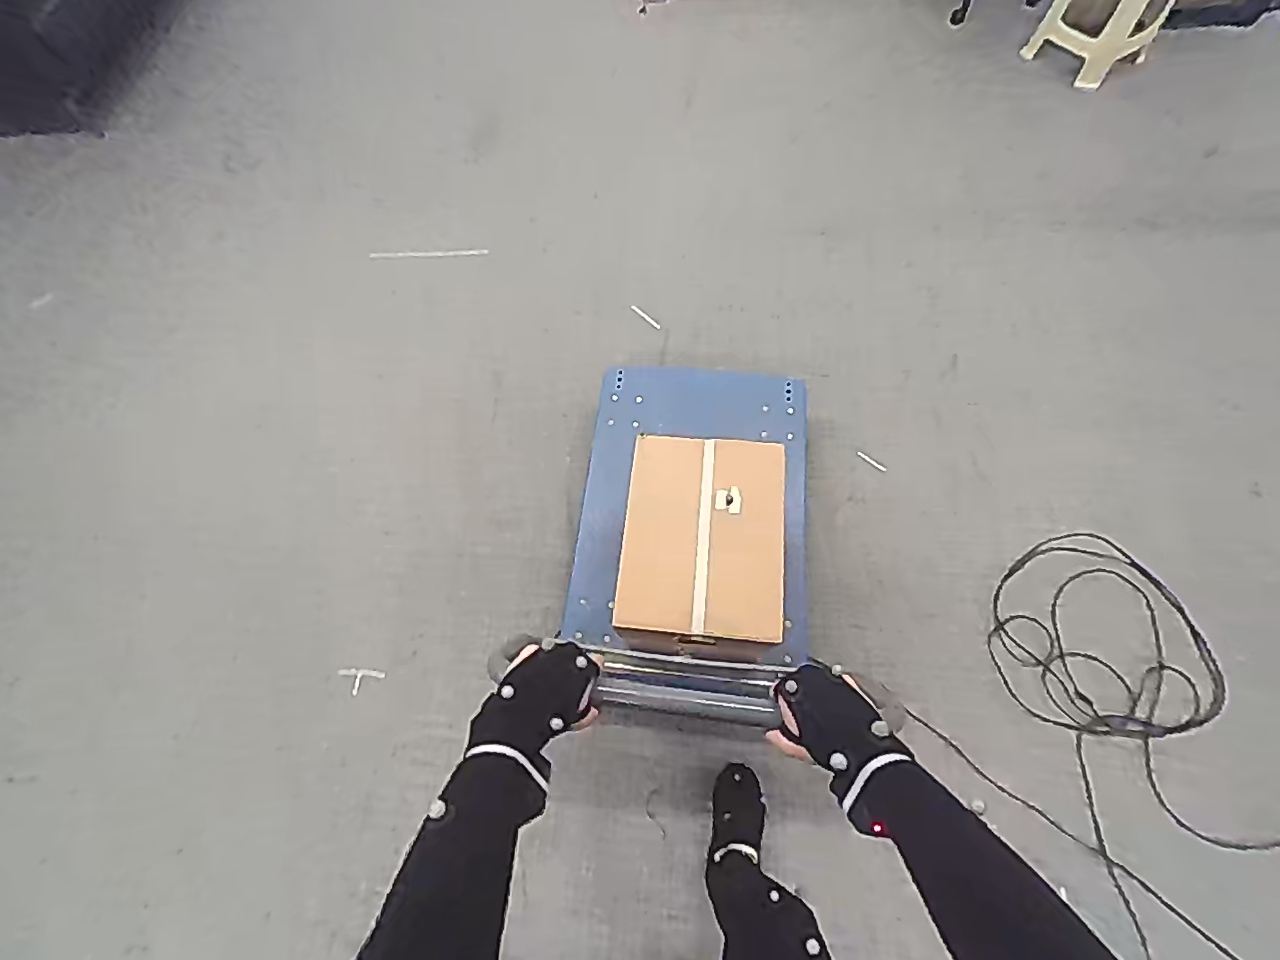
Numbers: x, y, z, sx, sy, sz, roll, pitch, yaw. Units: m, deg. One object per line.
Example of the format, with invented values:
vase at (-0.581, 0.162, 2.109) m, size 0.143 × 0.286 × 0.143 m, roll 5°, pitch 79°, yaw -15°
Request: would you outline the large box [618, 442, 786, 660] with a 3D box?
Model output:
large box at (0.137, 0.168, 1.202) m, size 0.320 × 0.320 × 0.408 m, roll 4°, pitch 66°, yaw 5°
